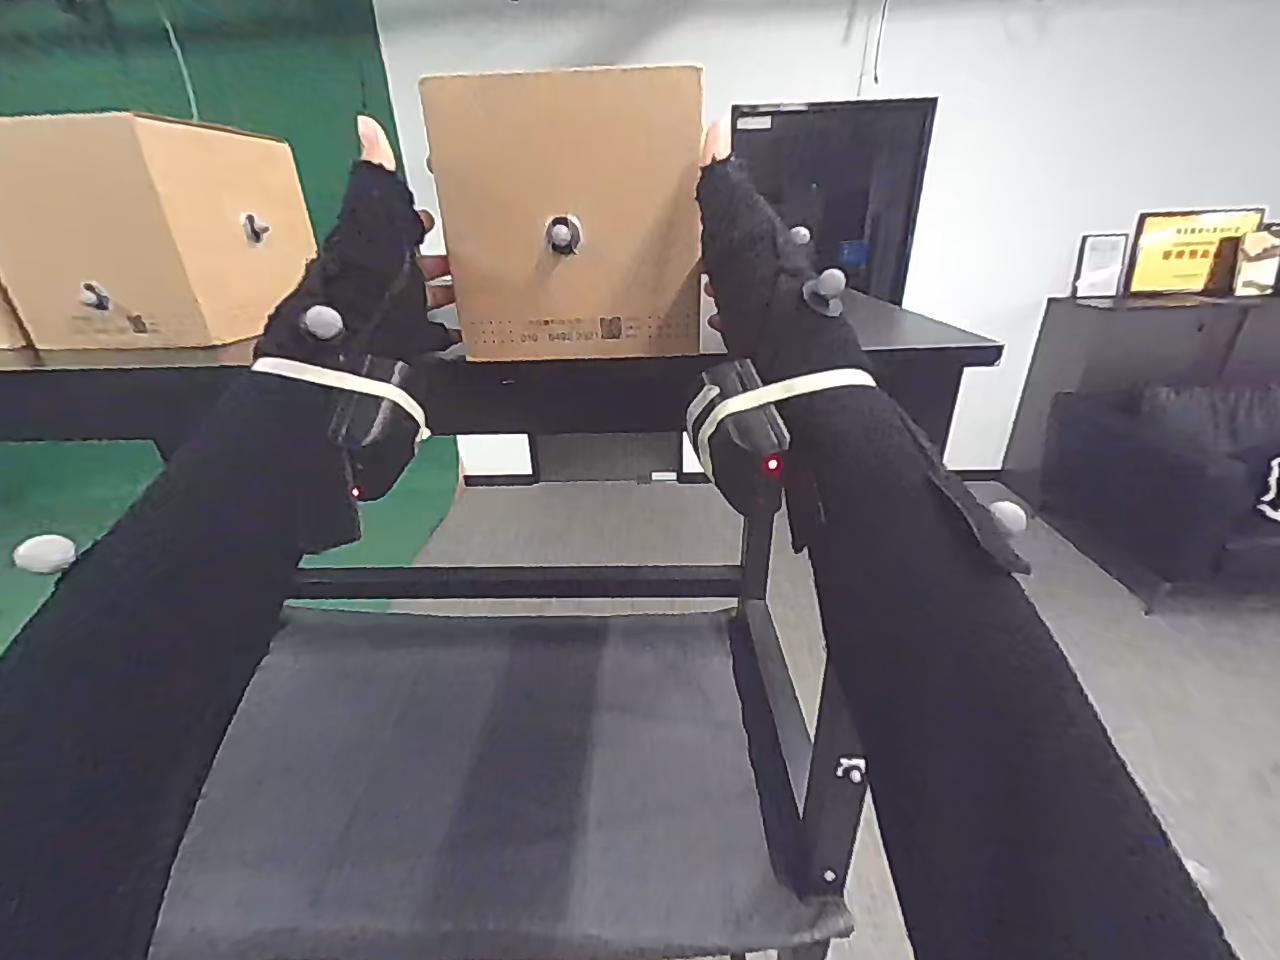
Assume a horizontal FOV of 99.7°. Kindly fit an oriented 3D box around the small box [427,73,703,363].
[{"bbox_3d":[-0.038,-0.190,0.419,0.168,0.176,0.179,-1,26,1],"label":"small box"}]
